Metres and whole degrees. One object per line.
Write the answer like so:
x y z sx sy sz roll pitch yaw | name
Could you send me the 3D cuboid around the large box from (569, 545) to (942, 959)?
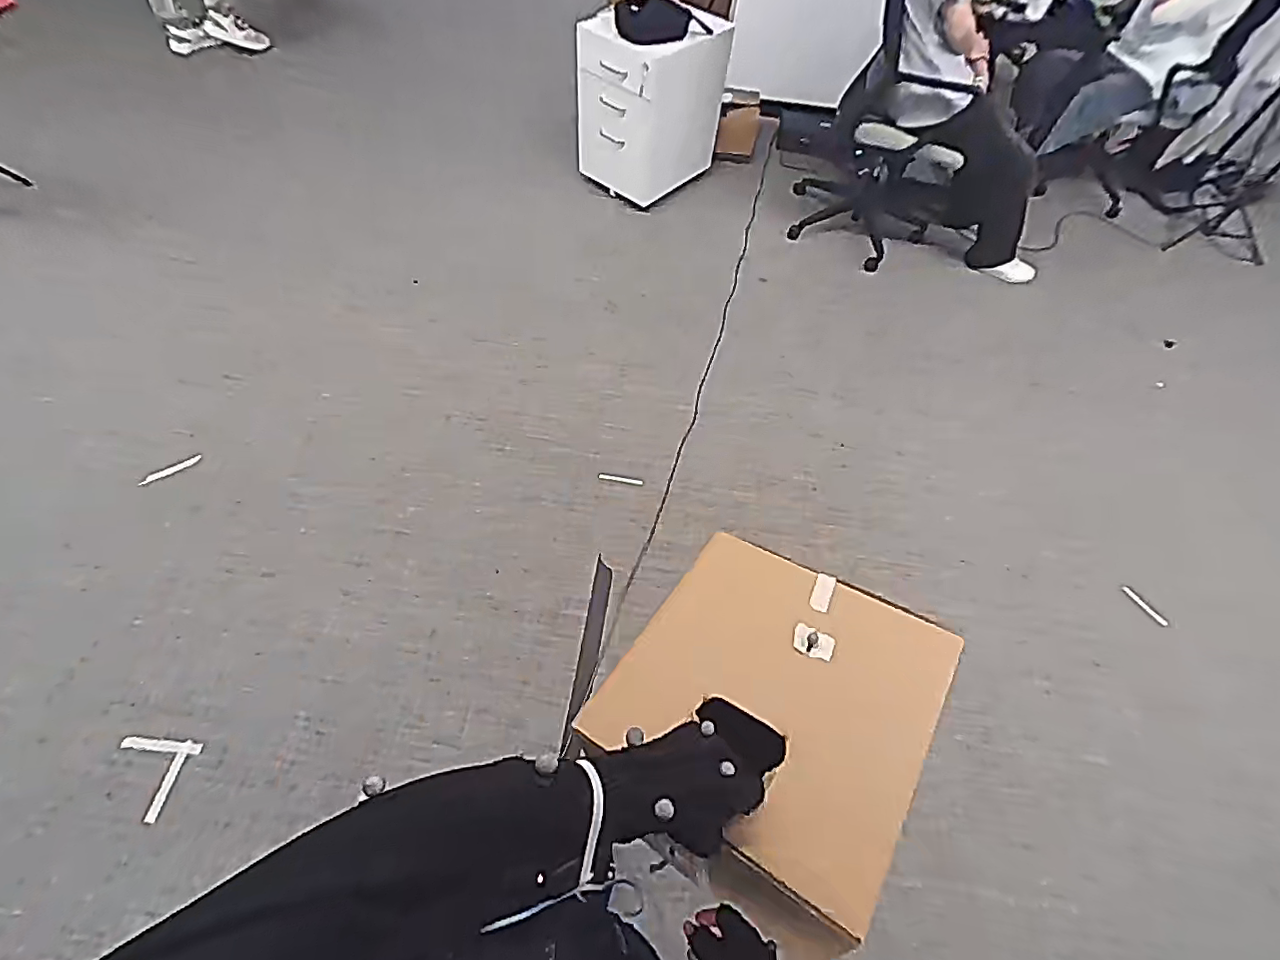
0.159 0.362 0.724 0.320 0.408 0.320 24 54 30 | large box
